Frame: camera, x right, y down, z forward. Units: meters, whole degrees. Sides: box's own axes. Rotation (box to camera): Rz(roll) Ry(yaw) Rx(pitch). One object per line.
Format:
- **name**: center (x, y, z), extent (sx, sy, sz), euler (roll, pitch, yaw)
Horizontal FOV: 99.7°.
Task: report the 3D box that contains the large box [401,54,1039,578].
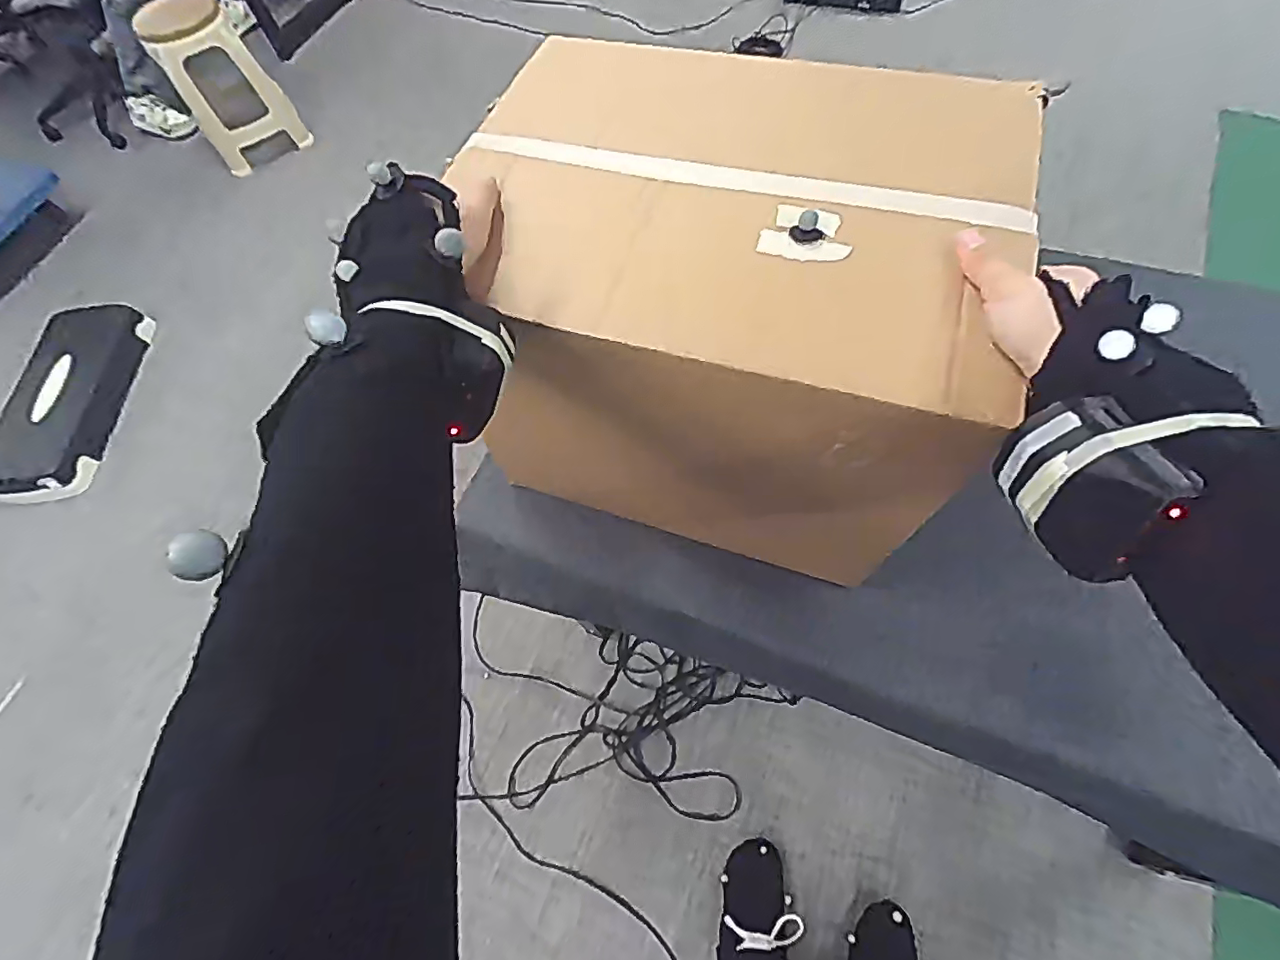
- **large box**: center (0.077, -0.140, 0.524), extent (0.408, 0.320, 0.320), euler (16, 67, 11)
